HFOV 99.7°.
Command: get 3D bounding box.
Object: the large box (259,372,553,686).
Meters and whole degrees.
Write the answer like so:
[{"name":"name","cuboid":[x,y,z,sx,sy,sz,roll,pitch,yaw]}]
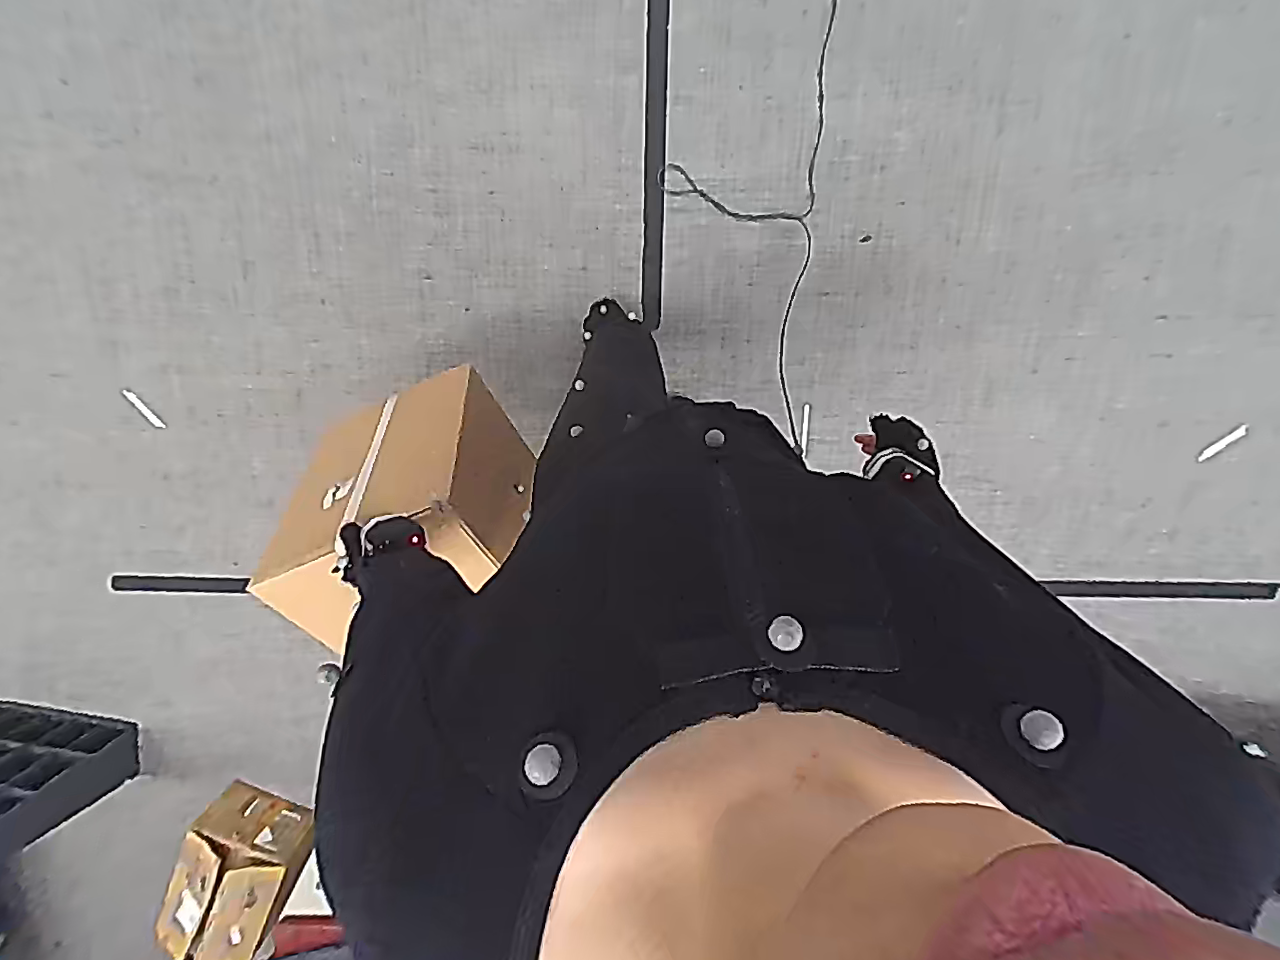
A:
[{"name":"large box","cuboid":[-0.369,0.077,0.970,0.320,0.408,0.320,-24,129,6]}]
